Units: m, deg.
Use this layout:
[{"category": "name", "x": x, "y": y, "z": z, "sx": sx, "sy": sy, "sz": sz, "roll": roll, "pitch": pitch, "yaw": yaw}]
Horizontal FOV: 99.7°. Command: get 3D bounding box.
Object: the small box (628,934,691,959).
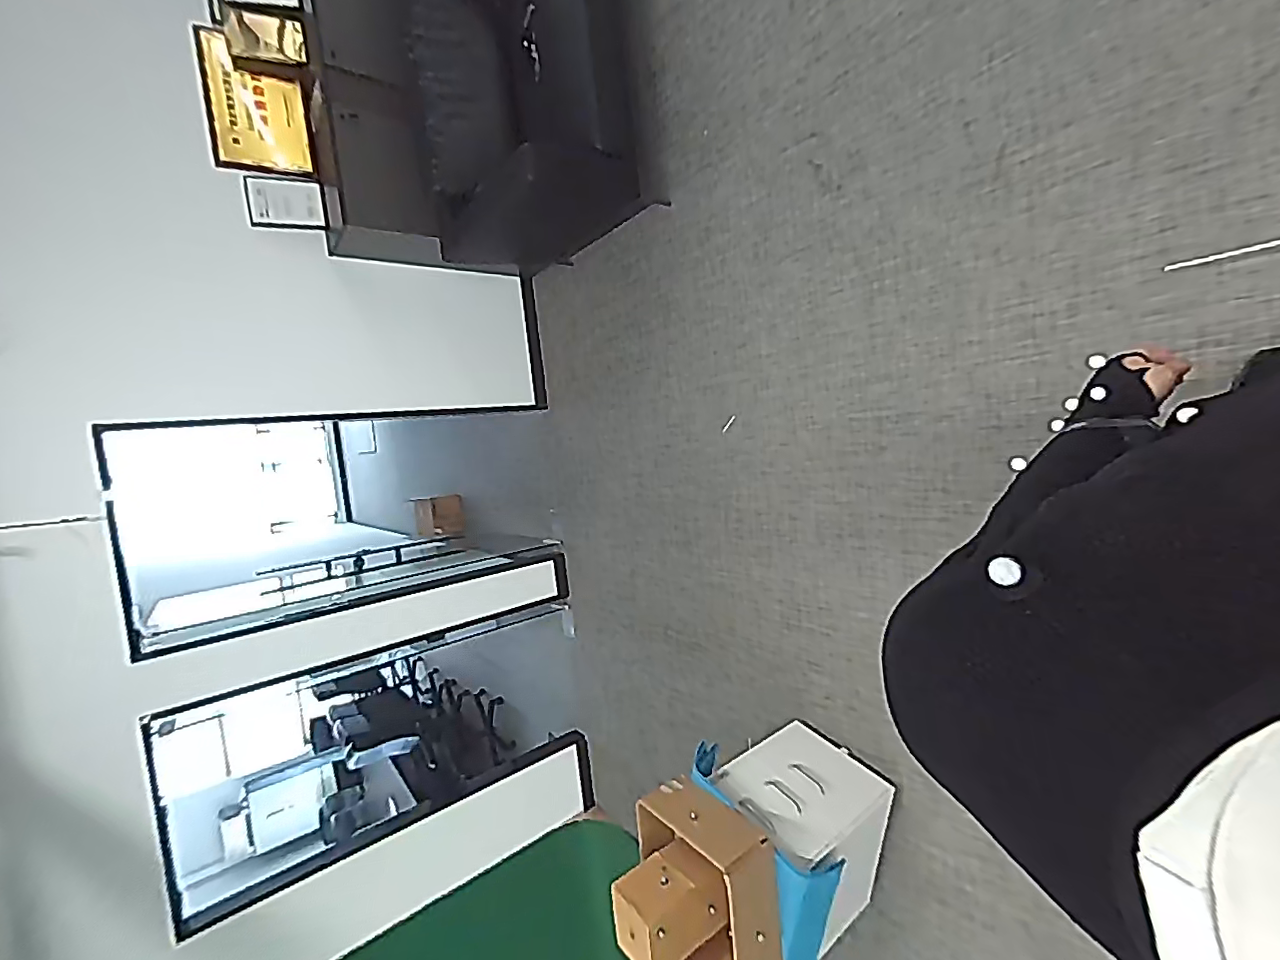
[{"category": "small box", "x": 0.063, "y": 1.412, "z": 1.472, "sx": 0.168, "sy": 0.176, "sz": 0.179, "roll": 1, "pitch": 96, "yaw": 53}]
